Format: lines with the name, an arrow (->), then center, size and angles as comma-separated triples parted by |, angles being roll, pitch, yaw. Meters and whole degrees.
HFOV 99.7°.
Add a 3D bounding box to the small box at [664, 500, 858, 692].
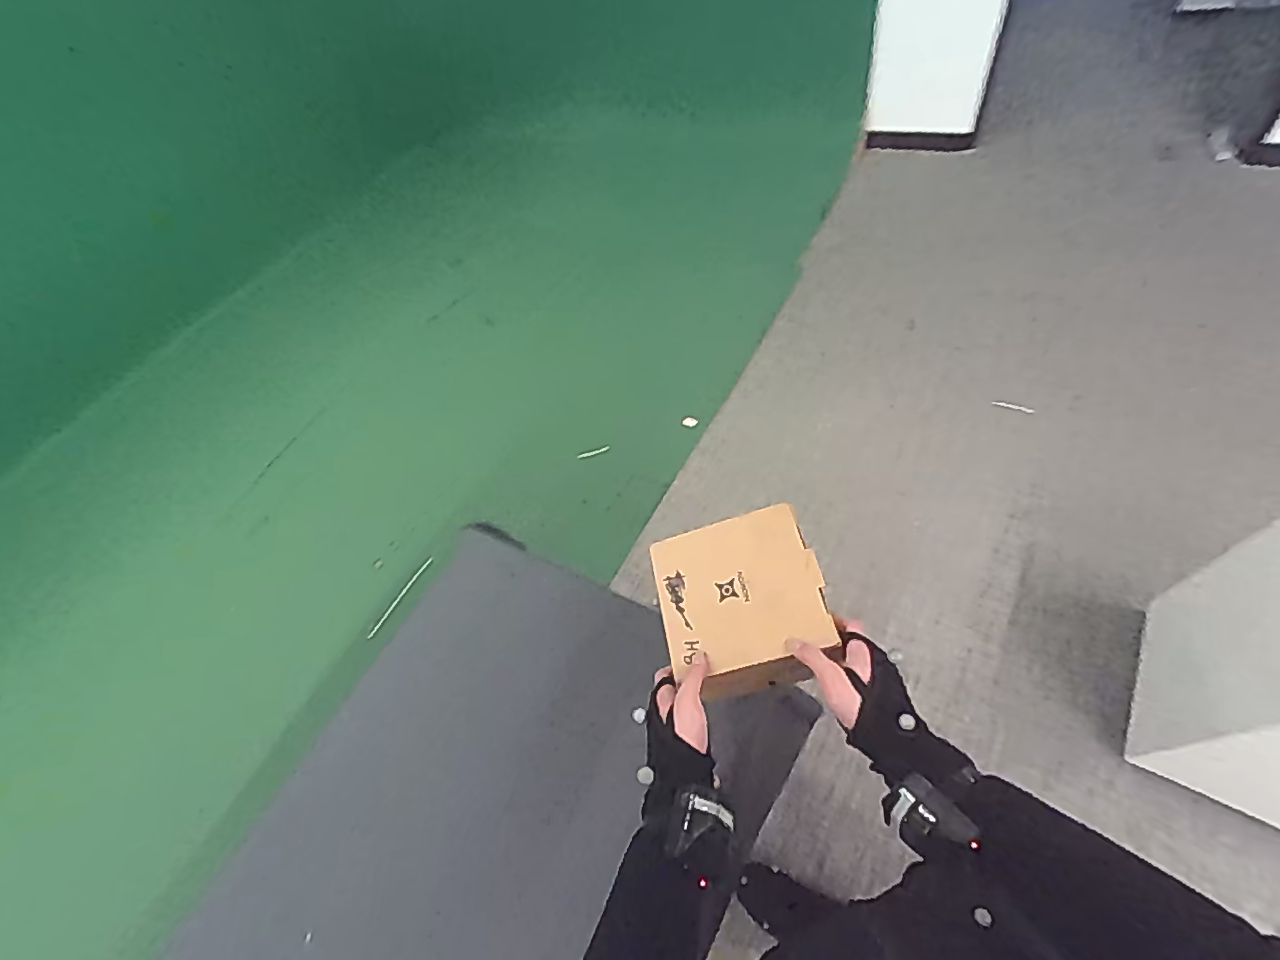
small box -> 0.143, 0.148, 0.649 | 0.179, 0.176, 0.168 | -16, 59, 11
